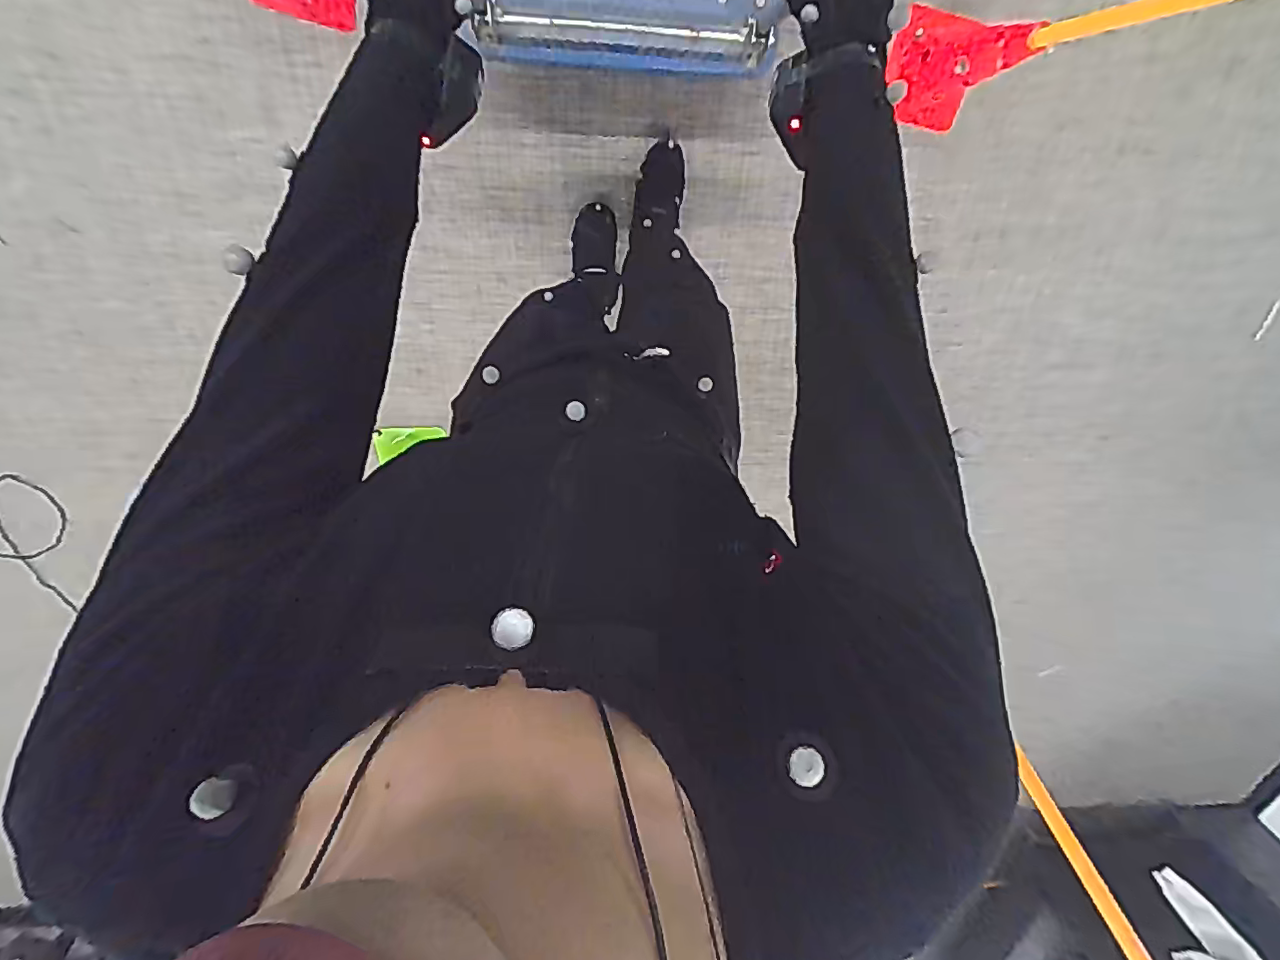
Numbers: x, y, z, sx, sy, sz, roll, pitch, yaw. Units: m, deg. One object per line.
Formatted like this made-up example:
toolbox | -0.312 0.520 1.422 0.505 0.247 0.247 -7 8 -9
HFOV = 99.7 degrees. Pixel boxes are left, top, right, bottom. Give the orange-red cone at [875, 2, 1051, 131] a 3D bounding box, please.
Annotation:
orange-red cone | 0.638 -0.800 1.020 0.198 0.360 0.199 10 120 -9
